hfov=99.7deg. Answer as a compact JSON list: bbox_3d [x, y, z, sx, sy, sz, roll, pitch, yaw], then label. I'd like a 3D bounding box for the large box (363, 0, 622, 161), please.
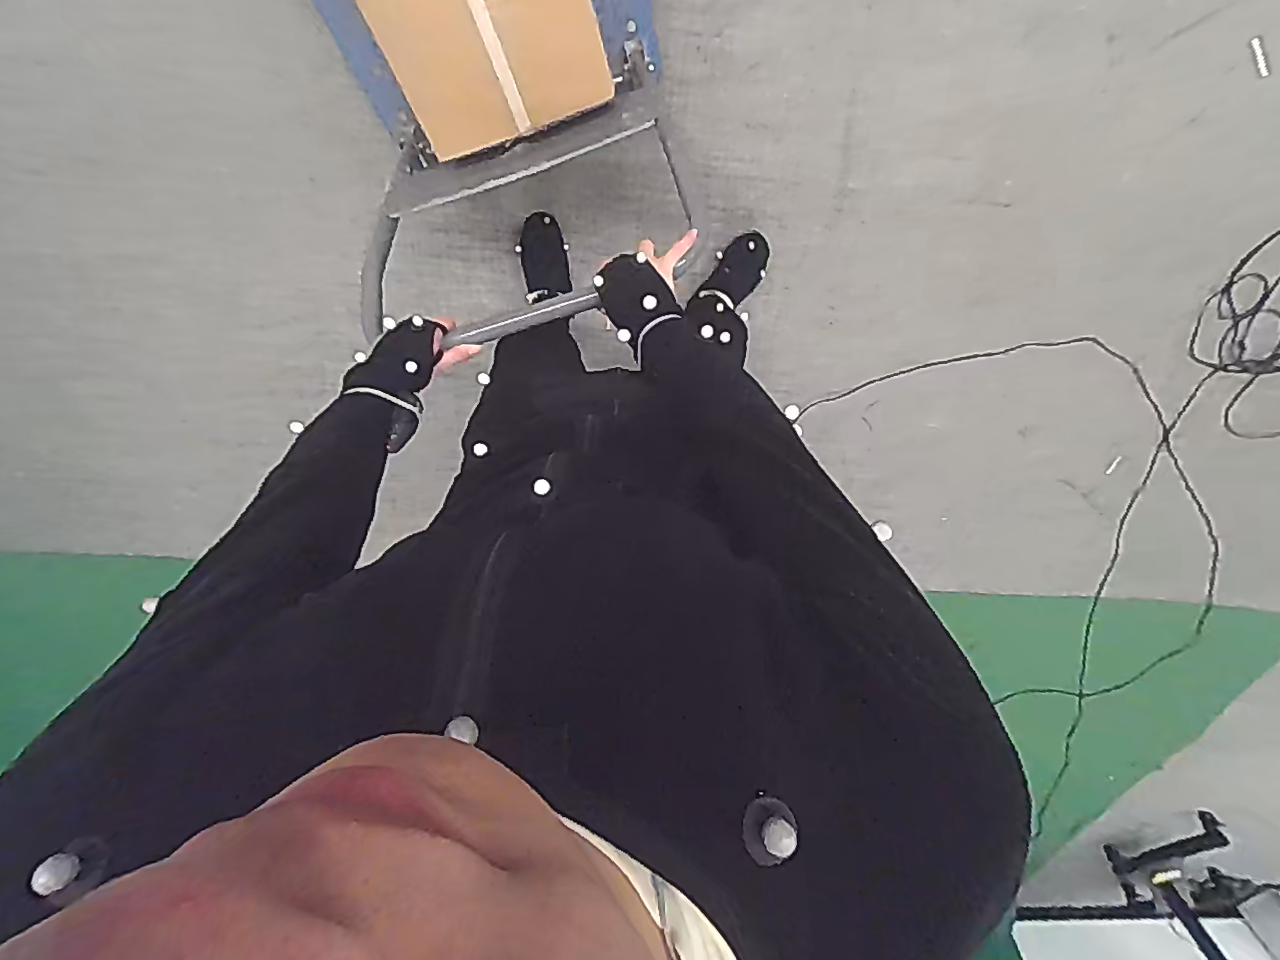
[{"bbox_3d":[-0.242,-0.796,0.826,0.320,0.320,0.408,-16,138,8],"label":"large box"}]
